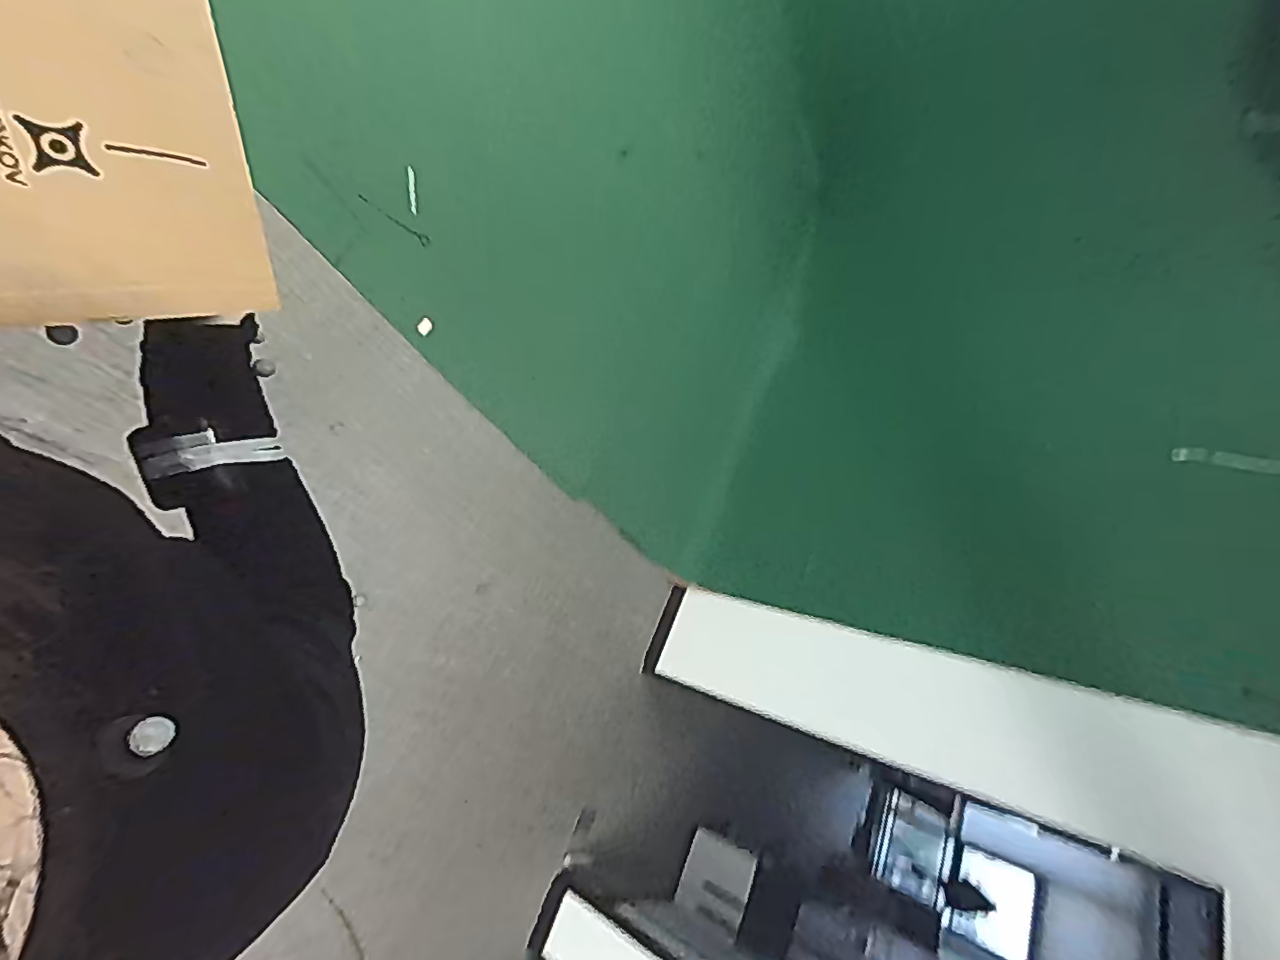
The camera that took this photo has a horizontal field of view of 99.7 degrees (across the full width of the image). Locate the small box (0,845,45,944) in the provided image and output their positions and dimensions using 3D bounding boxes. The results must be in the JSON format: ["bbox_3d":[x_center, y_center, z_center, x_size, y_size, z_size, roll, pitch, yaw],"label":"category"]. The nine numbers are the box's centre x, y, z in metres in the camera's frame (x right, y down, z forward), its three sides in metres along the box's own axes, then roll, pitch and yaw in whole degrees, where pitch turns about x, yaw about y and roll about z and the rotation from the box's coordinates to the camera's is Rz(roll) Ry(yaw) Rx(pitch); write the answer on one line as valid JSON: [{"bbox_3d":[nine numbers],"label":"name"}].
[{"bbox_3d":[-1.226,0.757,0.948,0.179,0.176,0.168,-50,132,-34],"label":"small box"}]
